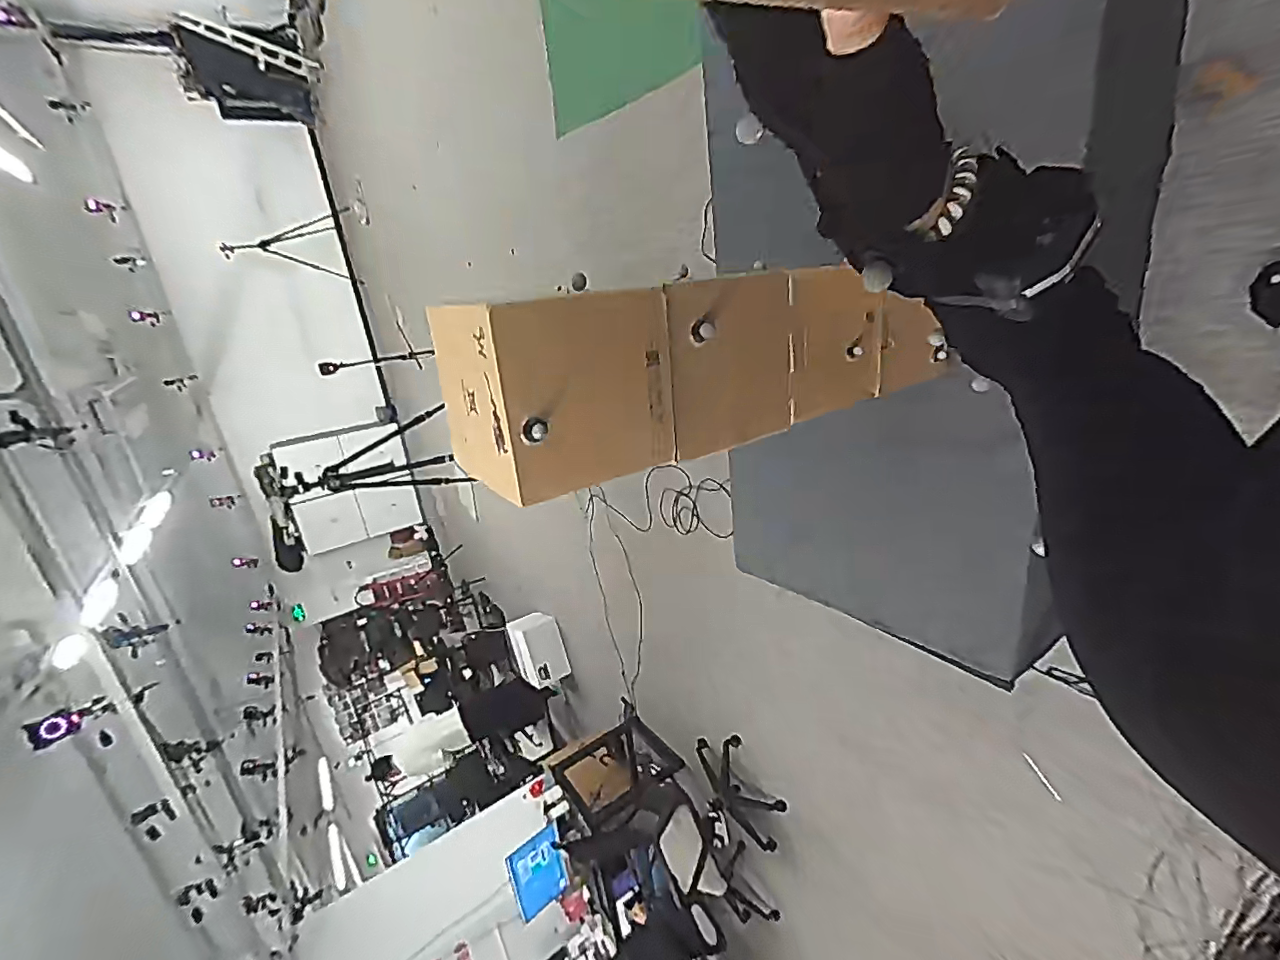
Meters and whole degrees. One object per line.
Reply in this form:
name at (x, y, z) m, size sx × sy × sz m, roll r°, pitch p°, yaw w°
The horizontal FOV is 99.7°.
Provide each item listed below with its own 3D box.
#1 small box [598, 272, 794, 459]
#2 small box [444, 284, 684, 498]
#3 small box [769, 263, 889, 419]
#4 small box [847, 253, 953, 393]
small box at (0.060, -0.141, 0.623) m, size 0.168 × 0.176 × 0.179 m, roll 23°, pitch 125°, yaw 53°
small box at (-0.075, -0.101, 0.540) m, size 0.179 × 0.176 × 0.168 m, roll 24°, pitch 126°, yaw 52°
small box at (0.194, -0.186, 0.709) m, size 0.179 × 0.176 × 0.168 m, roll 20°, pitch 123°, yaw 53°
small box at (0.327, -0.230, 0.790) m, size 0.179 × 0.176 × 0.168 m, roll 21°, pitch 123°, yaw 55°
